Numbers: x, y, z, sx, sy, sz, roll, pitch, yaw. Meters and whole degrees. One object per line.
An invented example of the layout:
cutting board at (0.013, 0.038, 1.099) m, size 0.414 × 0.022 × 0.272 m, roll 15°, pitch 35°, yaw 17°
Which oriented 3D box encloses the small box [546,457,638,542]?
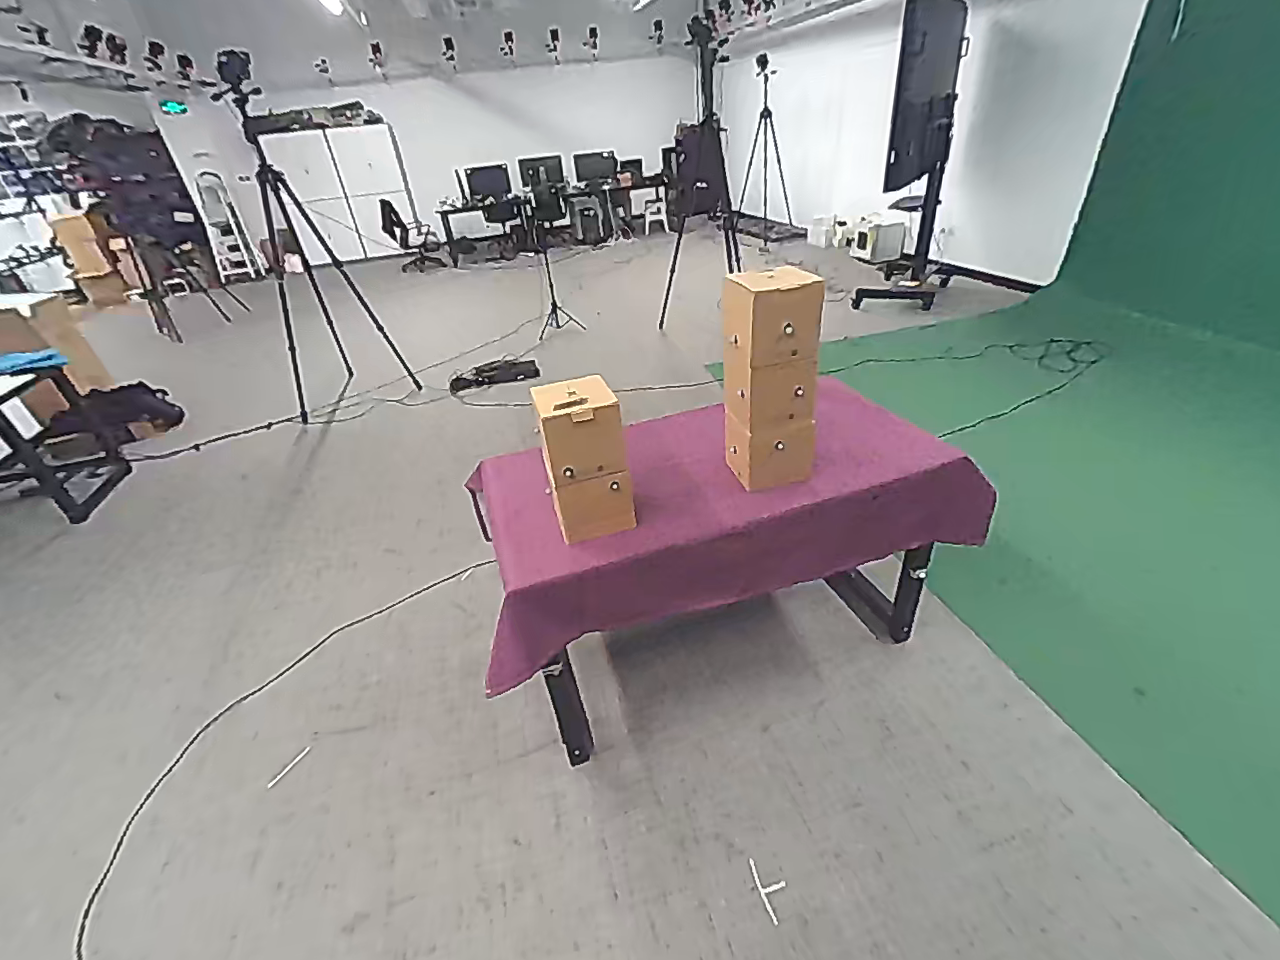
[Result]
small box at (-0.115, 0.028, 1.305) m, size 0.179 × 0.176 × 0.168 m, roll -14°, pitch 34°, yaw -11°

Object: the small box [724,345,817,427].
small box at (0.315, -0.239, 1.319) m, size 0.168 × 0.176 × 0.179 m, roll -12°, pitch 33°, yaw -7°

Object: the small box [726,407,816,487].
small box at (0.336, -0.099, 1.401) m, size 0.179 × 0.176 × 0.168 m, roll -12°, pitch 34°, yaw -7°

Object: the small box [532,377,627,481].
small box at (-0.136, -0.111, 1.218) m, size 0.168 × 0.176 × 0.179 m, roll -14°, pitch 32°, yaw -12°

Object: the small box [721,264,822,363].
small box at (0.293, -0.375, 1.229) m, size 0.168 × 0.176 × 0.179 m, roll -12°, pitch 34°, yaw -9°
